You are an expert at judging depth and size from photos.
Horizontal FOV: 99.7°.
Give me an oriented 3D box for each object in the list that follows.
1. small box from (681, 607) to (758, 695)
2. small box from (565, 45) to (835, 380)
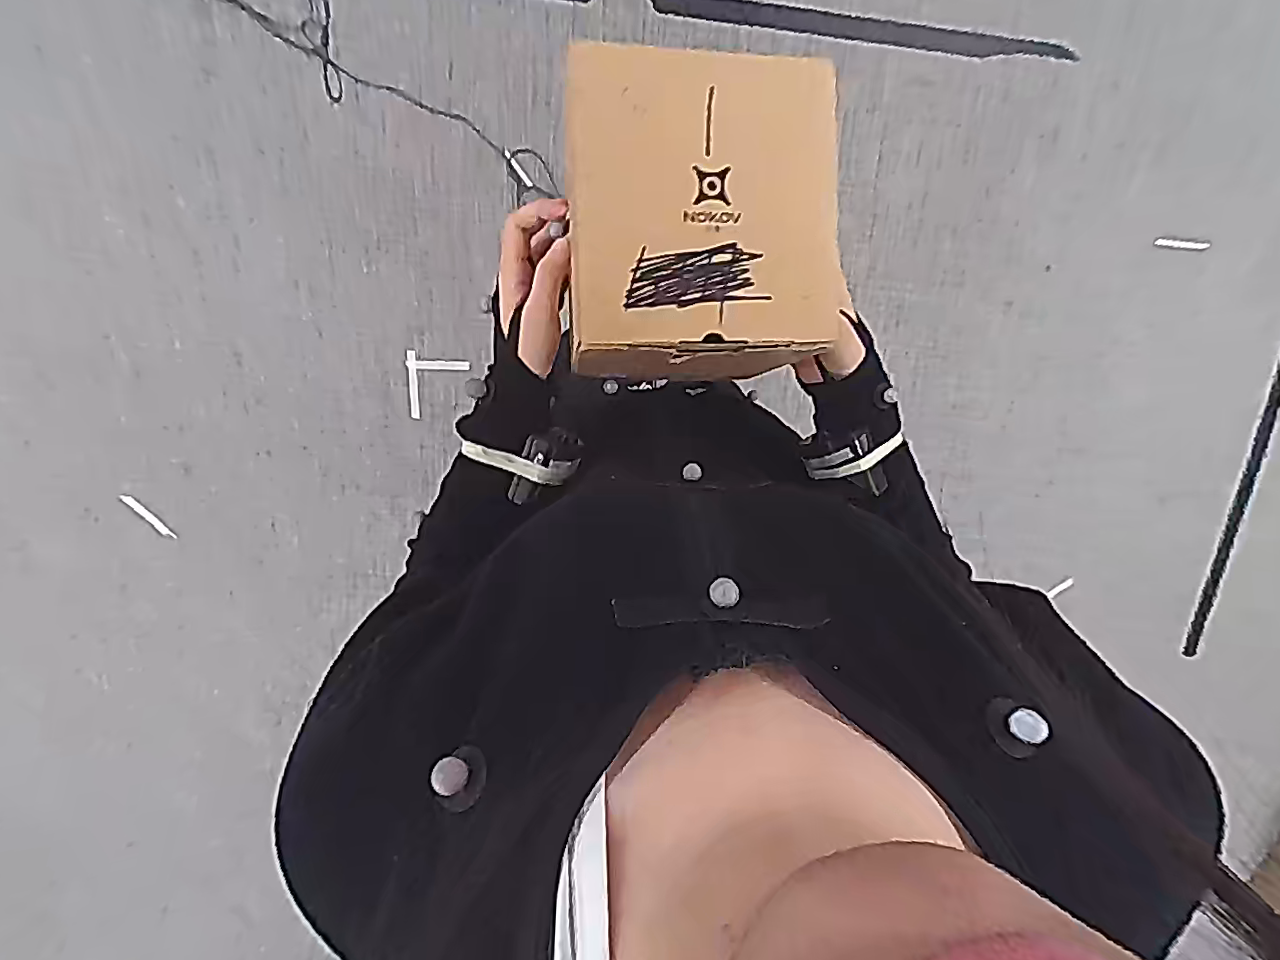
[{"bbox_3d":[0.225,0.482,1.548,0.179,0.176,0.168,-9,104,-3],"label":"small box"},{"bbox_3d":[0.029,-0.171,0.406,0.168,0.176,0.179,-2,92,-9],"label":"small box"}]
